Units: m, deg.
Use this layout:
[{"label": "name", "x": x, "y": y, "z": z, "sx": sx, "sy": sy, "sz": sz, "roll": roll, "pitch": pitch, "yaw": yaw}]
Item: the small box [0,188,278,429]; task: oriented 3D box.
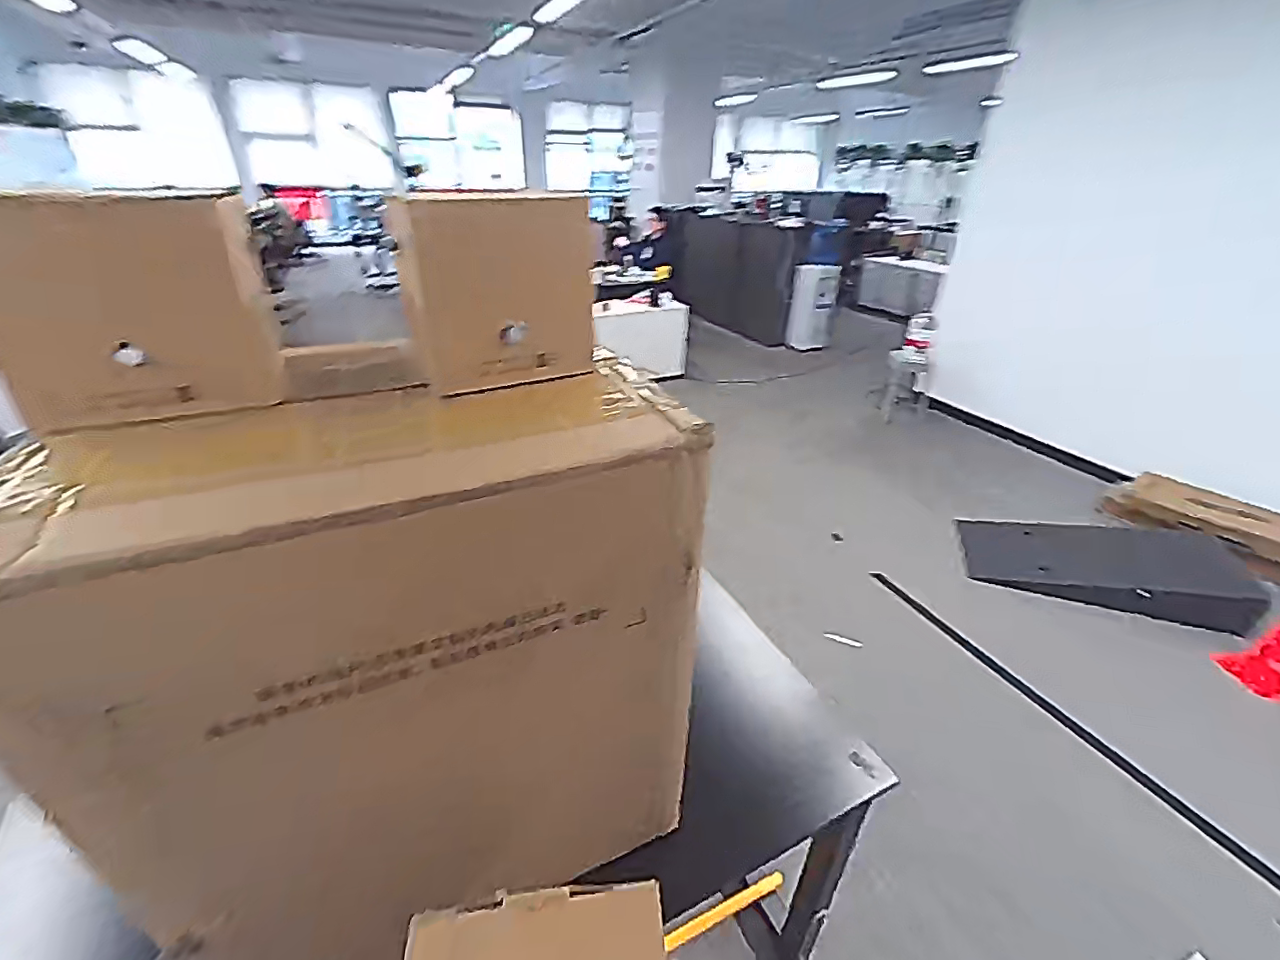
[{"label": "small box", "x": -0.438, "y": -0.157, "z": 0.475, "sx": 0.168, "sy": 0.176, "sz": 0.179, "roll": -14, "pitch": 31, "yaw": -25}]

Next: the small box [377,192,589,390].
[{"label": "small box", "x": -0.162, "y": -0.204, "z": 0.566, "sx": 0.168, "sy": 0.176, "sz": 0.179, "roll": -15, "pitch": 32, "yaw": -25}]

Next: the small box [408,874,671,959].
[{"label": "small box", "x": -0.061, "y": 0.392, "z": 0.361, "sx": 0.168, "sy": 0.176, "sz": 0.179, "roll": -4, "pitch": 47, "yaw": -6}]
